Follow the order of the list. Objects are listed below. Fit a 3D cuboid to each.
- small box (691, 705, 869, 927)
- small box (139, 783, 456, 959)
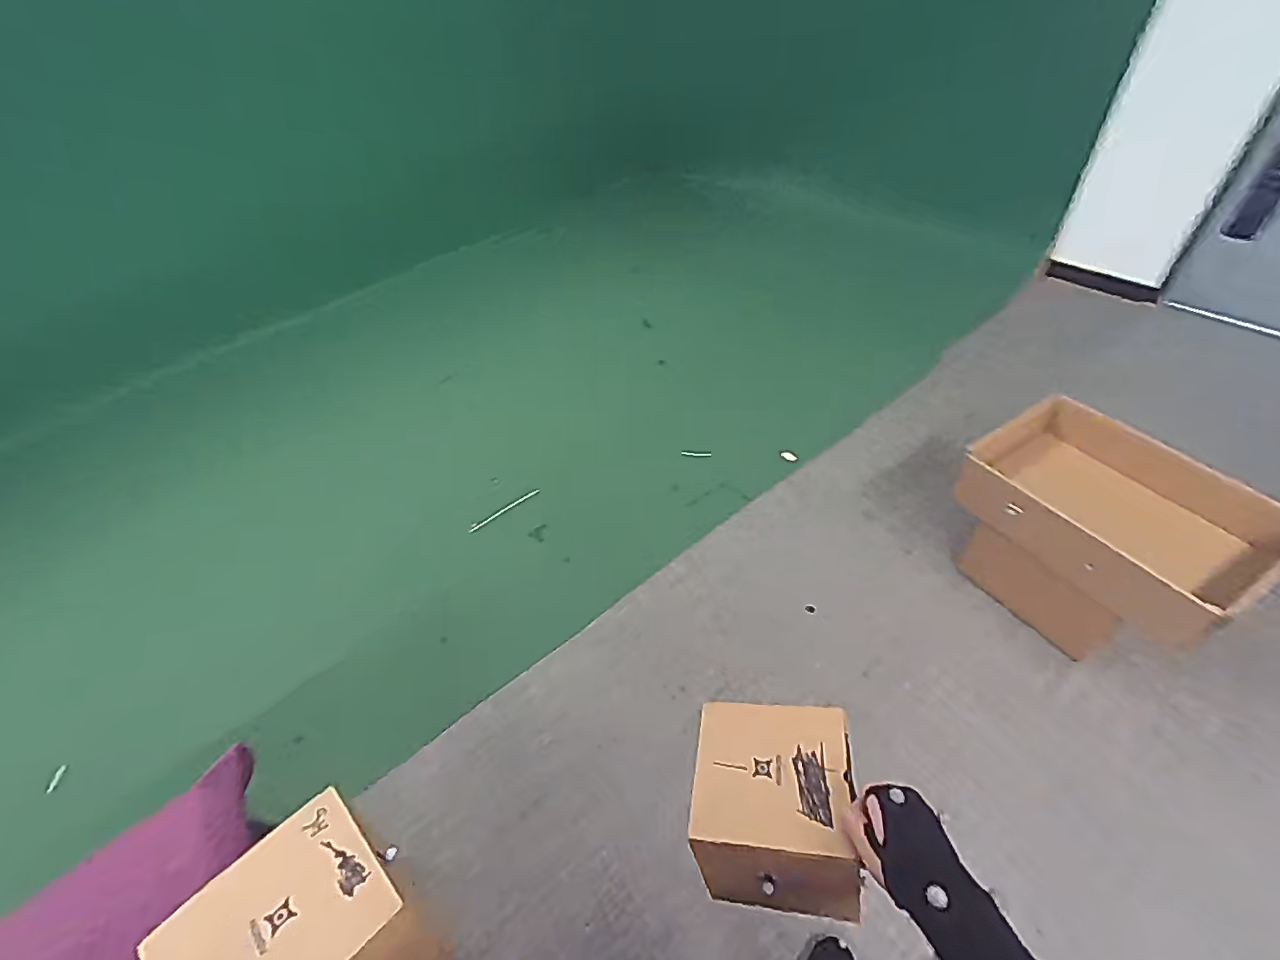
[{"bbox_3d":[0.171,0.397,0.646,0.179,0.176,0.168,-4,34,18],"label":"small box"},{"bbox_3d":[-0.306,0.445,0.507,0.168,0.176,0.179,23,45,39],"label":"small box"}]
